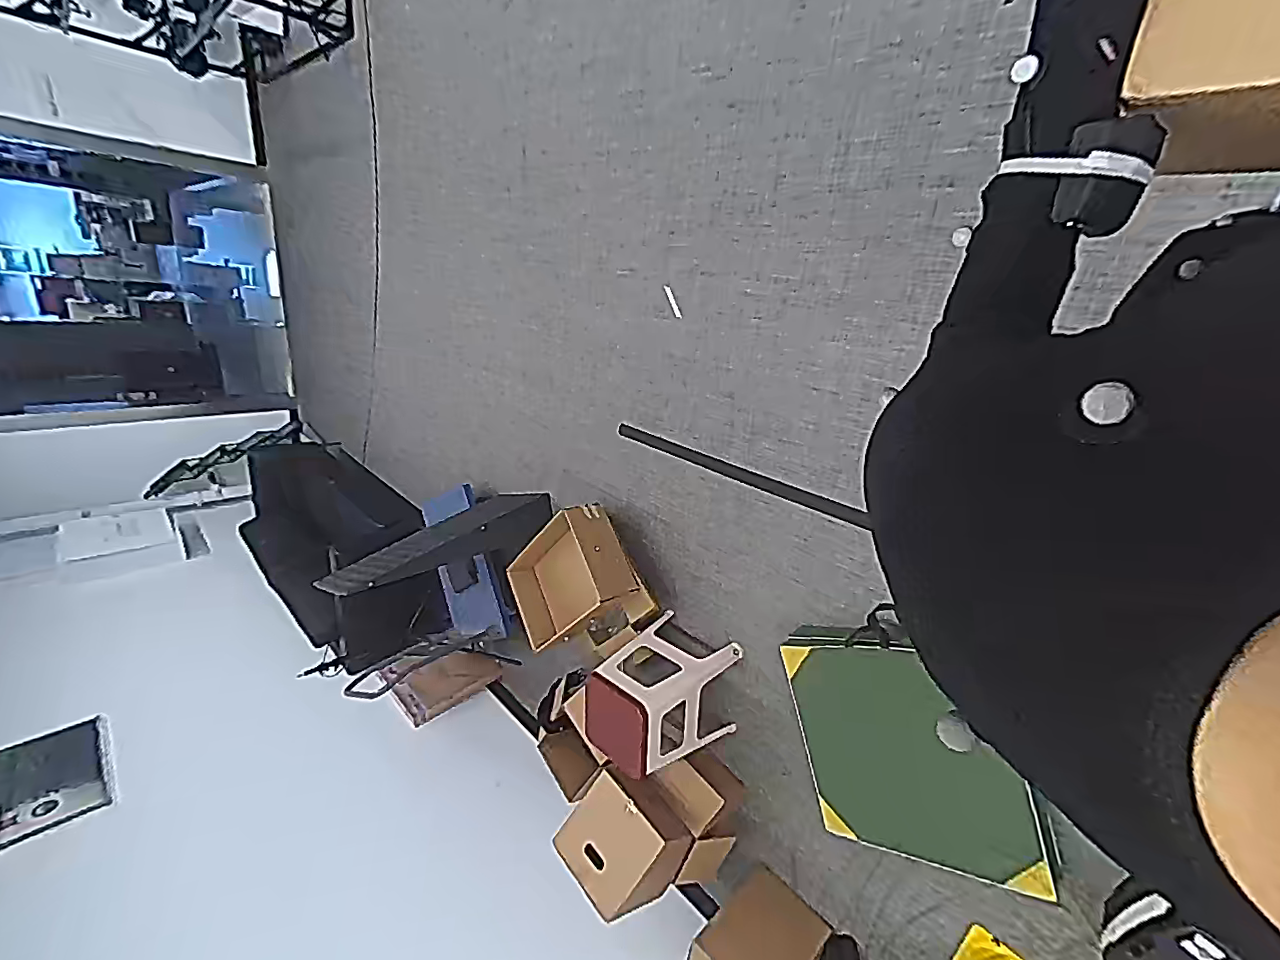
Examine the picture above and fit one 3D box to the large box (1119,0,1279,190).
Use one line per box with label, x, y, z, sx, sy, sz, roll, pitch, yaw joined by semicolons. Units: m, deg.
large box;0.574;-0.365;0.298;0.408;0.320;0.320;21;118;38
